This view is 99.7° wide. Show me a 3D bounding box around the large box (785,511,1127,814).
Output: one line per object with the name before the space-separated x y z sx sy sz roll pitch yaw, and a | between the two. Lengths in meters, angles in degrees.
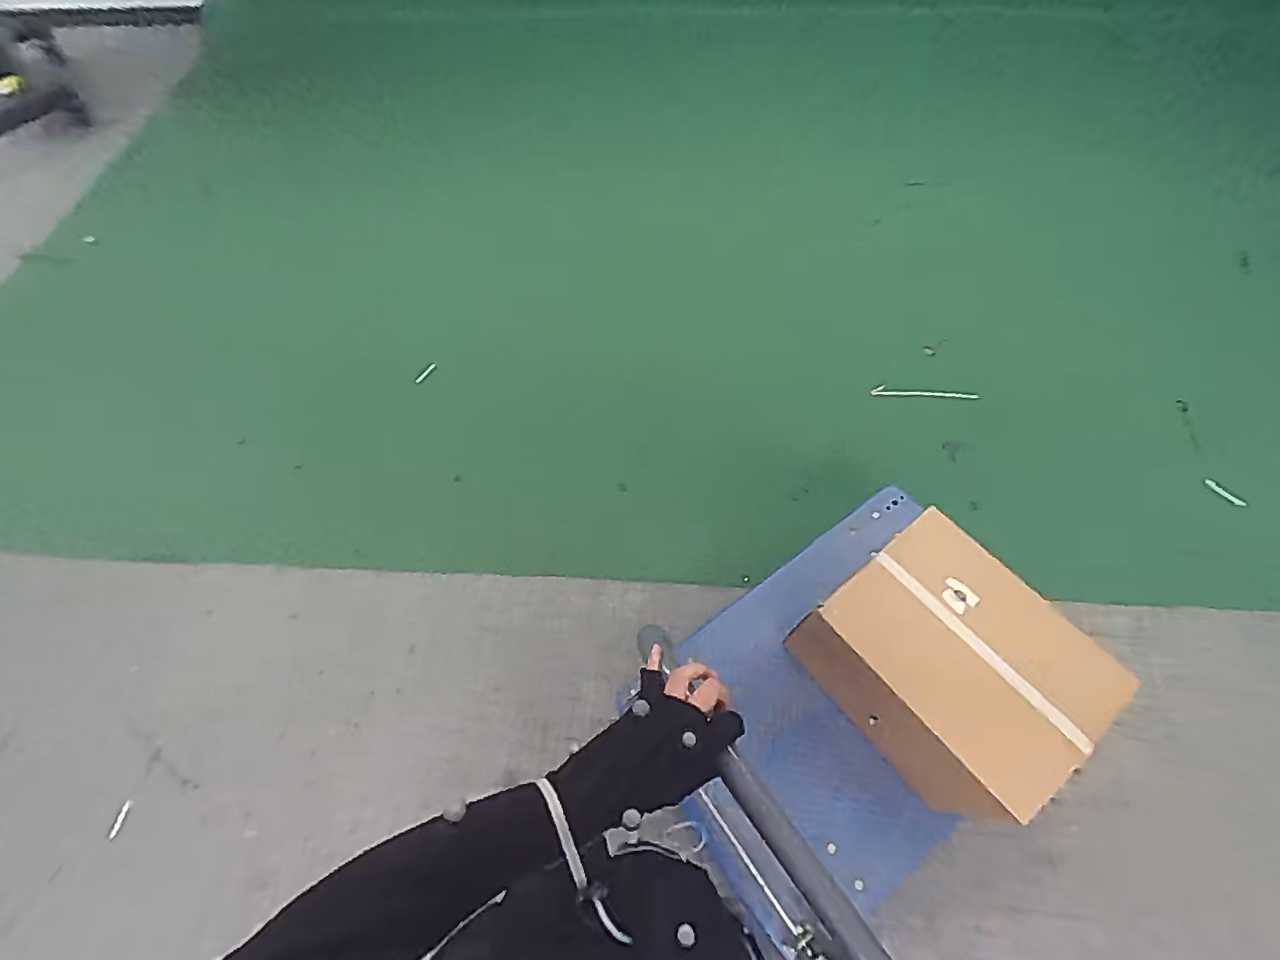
large box | 0.550 0.343 1.032 0.320 0.320 0.408 -36 65 -16
